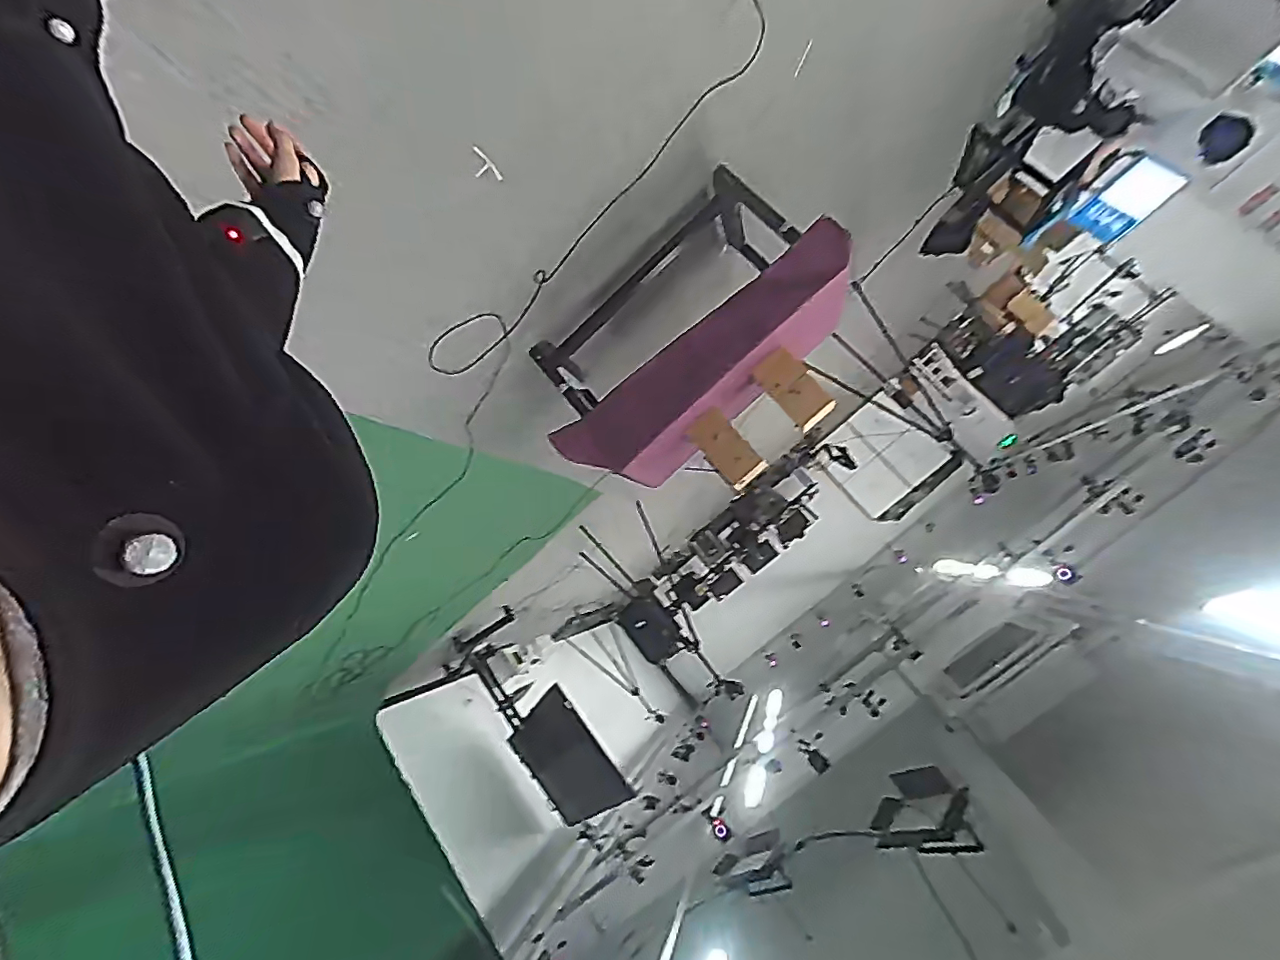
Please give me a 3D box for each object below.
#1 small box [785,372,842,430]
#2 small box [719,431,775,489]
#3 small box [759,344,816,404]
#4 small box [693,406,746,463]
[{"bbox_3d":[0.747,-0.341,2.331,0.168,0.176,0.179,-43,163,10],"label":"small box"},{"bbox_3d":[0.465,-0.085,2.376,0.179,0.176,0.168,-44,162,8],"label":"small box"},{"bbox_3d":[0.649,-0.468,2.373,0.179,0.176,0.168,-42,163,10],"label":"small box"},{"bbox_3d":[0.363,-0.205,2.423,0.179,0.176,0.168,-42,163,8],"label":"small box"}]
